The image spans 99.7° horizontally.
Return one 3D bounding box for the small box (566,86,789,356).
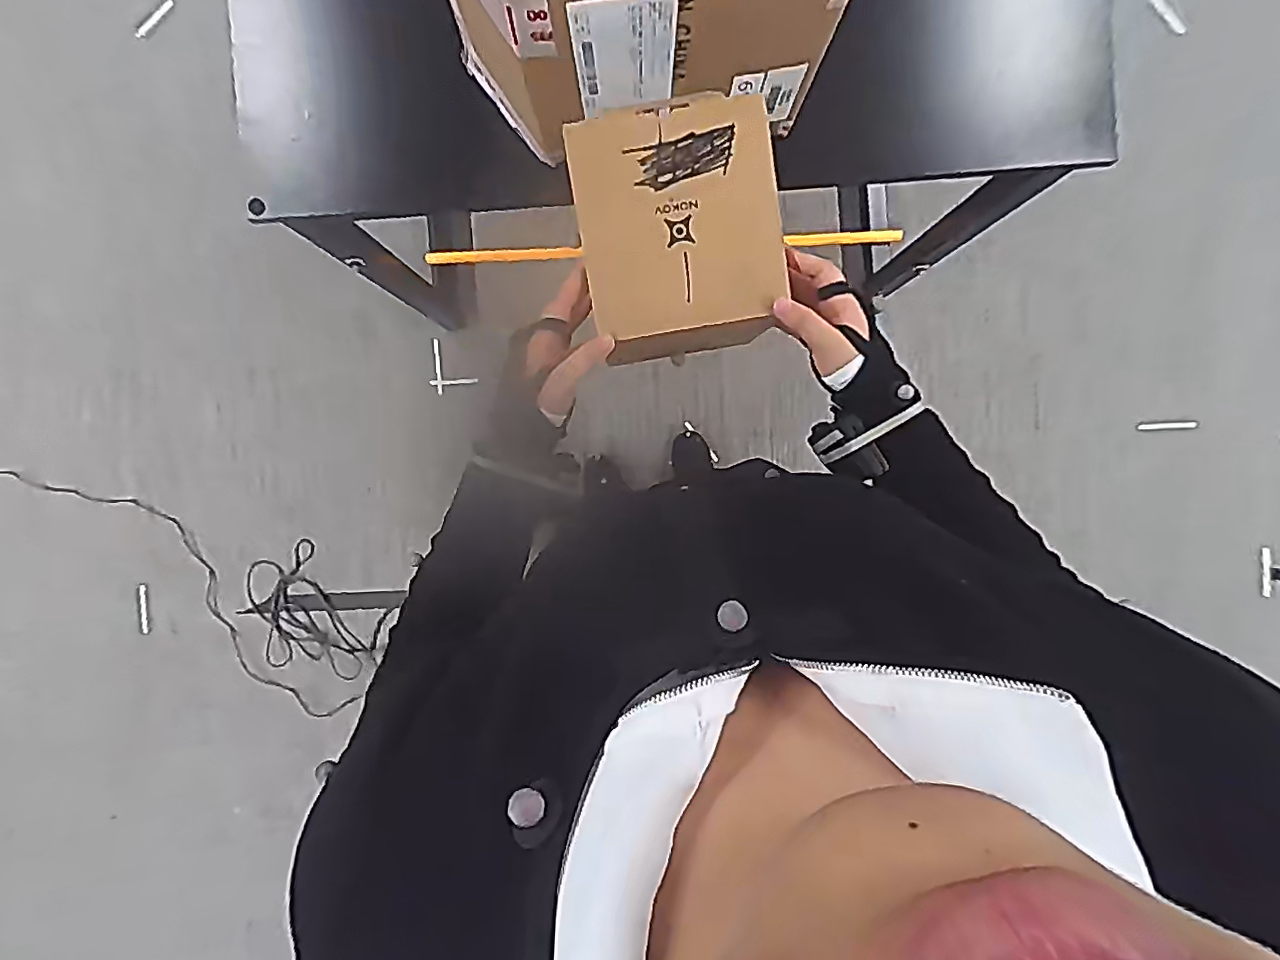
[{"bbox_3d":[0.029,-0.228,0.522,0.168,0.176,0.179,-9,96,0],"label":"small box"}]
